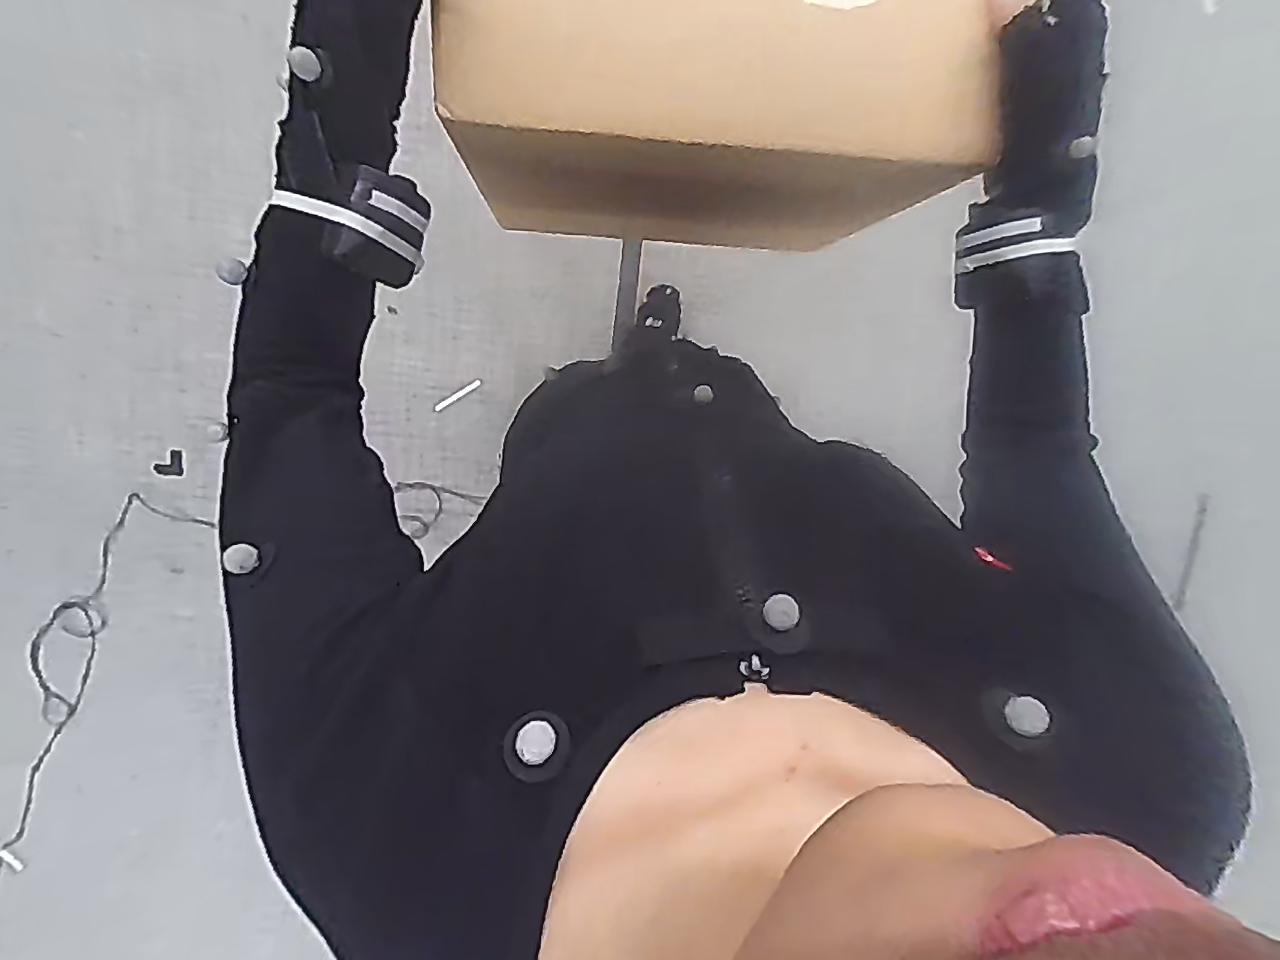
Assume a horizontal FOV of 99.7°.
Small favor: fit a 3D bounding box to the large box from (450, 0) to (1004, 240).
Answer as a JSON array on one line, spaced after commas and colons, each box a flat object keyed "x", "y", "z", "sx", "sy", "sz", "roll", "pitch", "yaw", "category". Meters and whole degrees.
[{"x": 0.051, "y": -0.428, "z": 0.506, "sx": 0.408, "sy": 0.320, "sz": 0.320, "roll": 0, "pitch": 103, "yaw": -8, "category": "large box"}]
